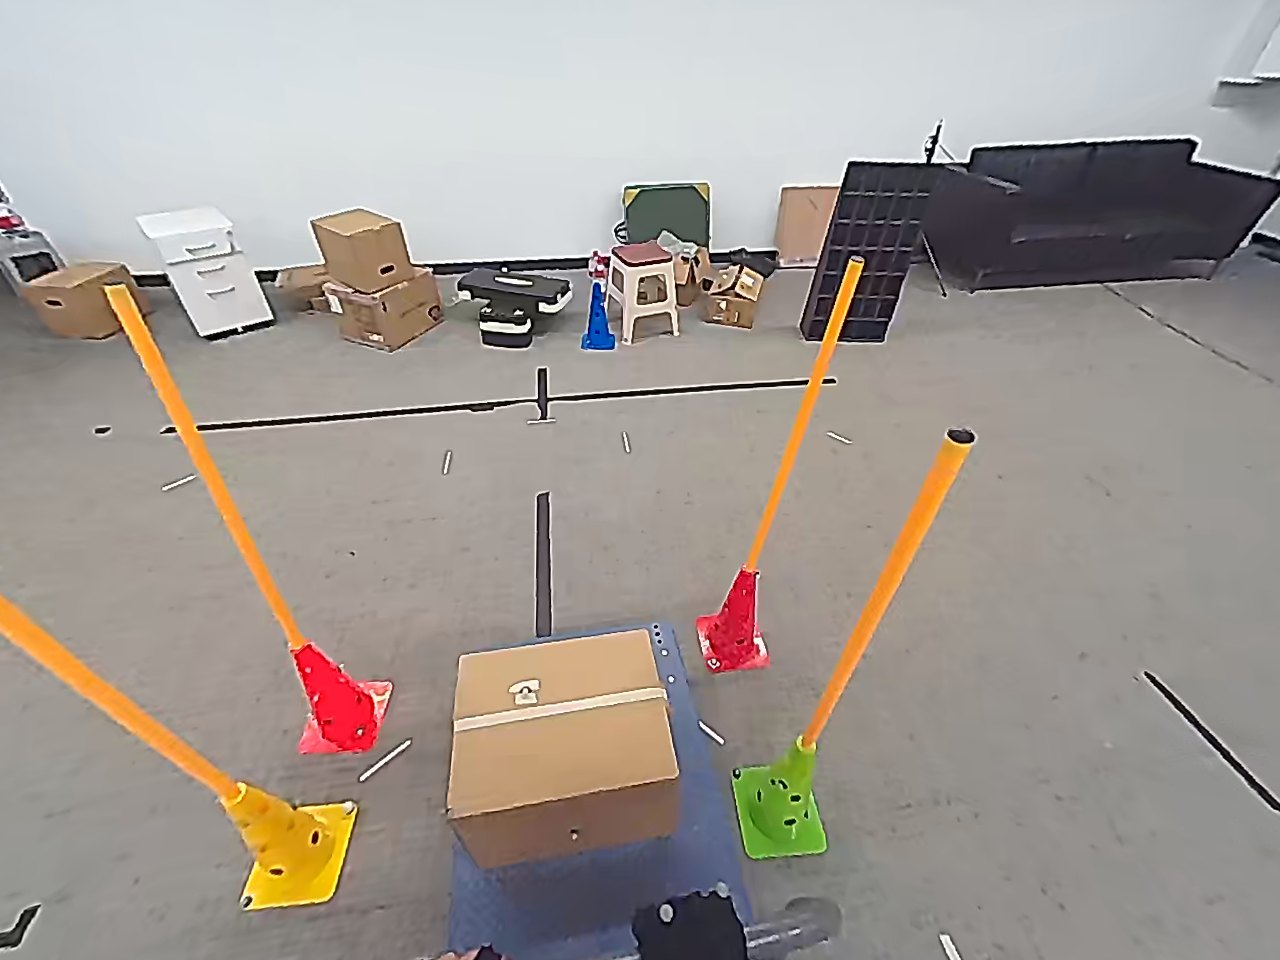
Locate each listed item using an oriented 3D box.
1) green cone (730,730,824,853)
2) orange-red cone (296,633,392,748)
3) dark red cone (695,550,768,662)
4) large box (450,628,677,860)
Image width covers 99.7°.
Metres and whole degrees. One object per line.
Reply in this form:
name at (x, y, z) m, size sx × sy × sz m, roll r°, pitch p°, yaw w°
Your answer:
green cone at (0.344, 0.682, 1.240) m, size 0.202 × 0.368 × 0.200 m, roll -1°, pitch 40°, yaw -5°
orange-red cone at (-0.812, 0.516, 1.404) m, size 0.198 × 0.360 × 0.199 m, roll 1°, pitch 39°, yaw -2°
dark red cone at (0.295, 0.356, 1.597) m, size 0.201 × 0.394 × 0.202 m, roll -3°, pitch 41°, yaw -8°
large box at (-0.153, 0.557, 1.150) m, size 0.408 × 0.320 × 0.320 m, roll -6°, pitch 41°, yaw -7°
